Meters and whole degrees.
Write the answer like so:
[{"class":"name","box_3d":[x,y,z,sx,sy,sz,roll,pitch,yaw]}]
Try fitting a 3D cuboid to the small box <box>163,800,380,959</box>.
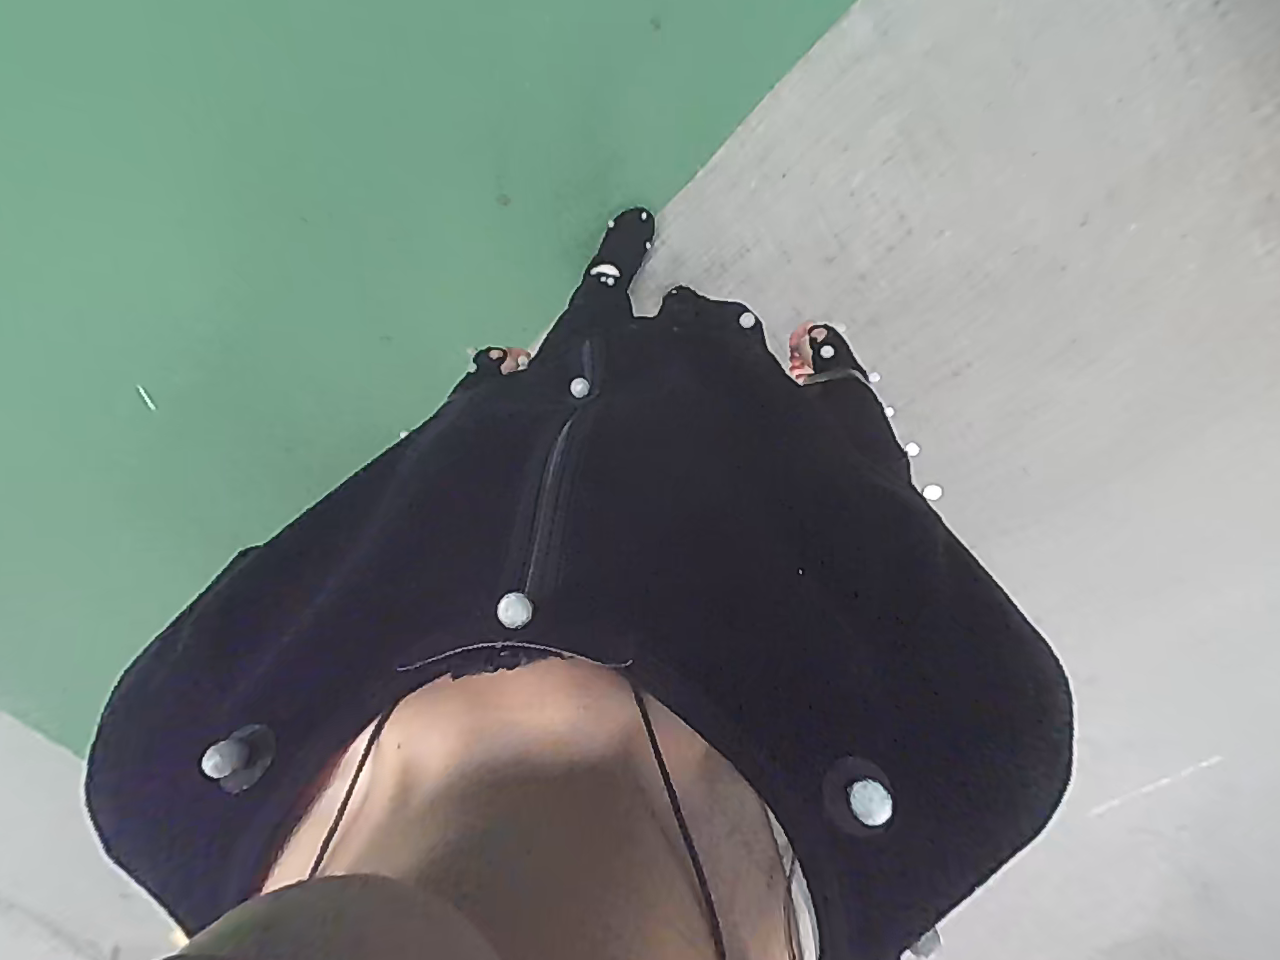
[{"class":"small box","box_3d":[-0.537,0.630,0.815,0.179,0.176,0.168,-32,107,16]}]
